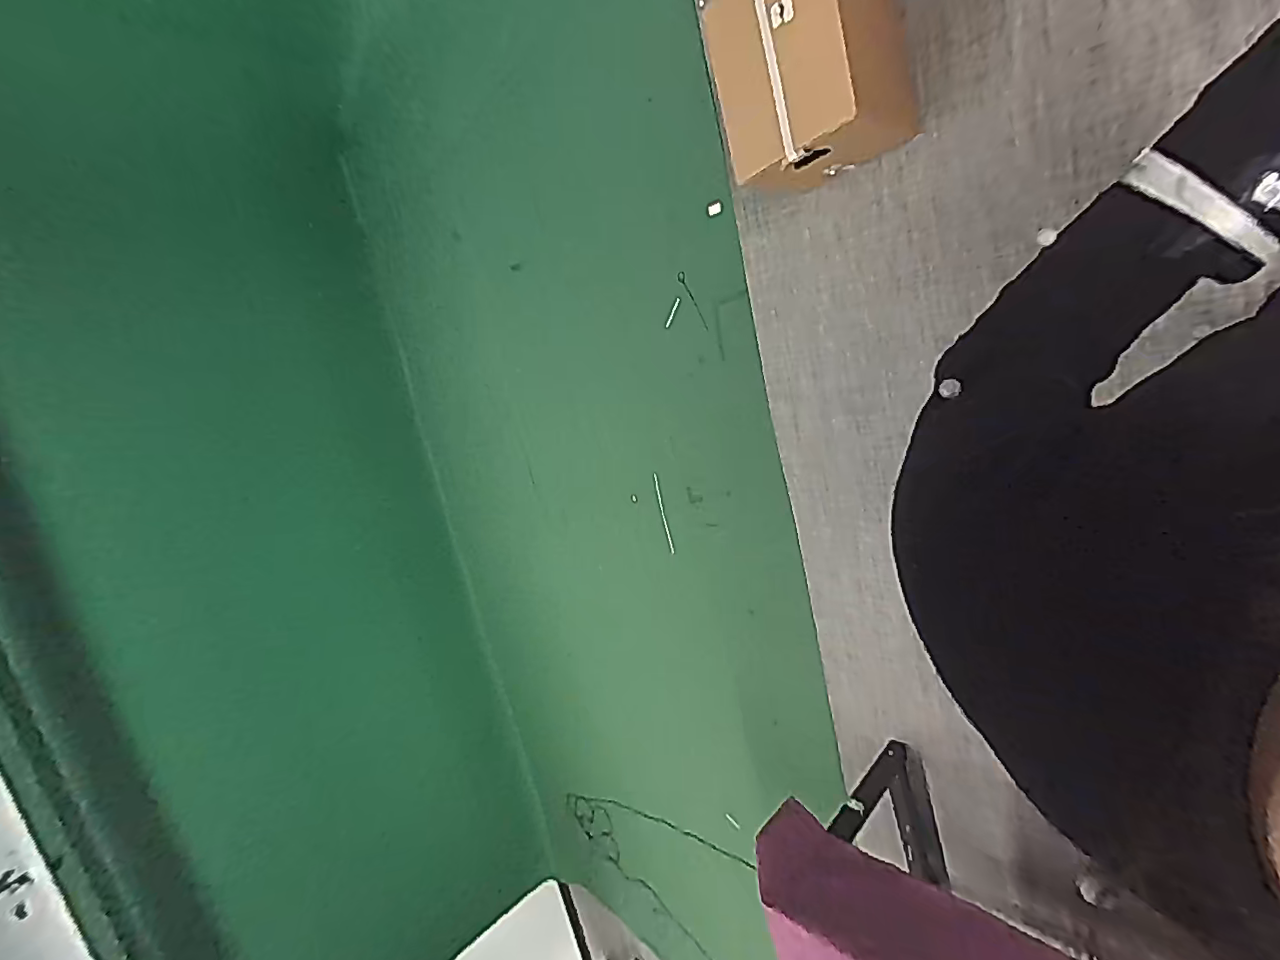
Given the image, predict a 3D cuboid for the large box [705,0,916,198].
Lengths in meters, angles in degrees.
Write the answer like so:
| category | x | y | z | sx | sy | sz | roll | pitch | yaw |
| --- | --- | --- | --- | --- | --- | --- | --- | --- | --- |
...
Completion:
| category | x | y | z | sx | sy | sz | roll | pitch | yaw |
| --- | --- | --- | --- | --- | --- | --- | --- | --- | --- |
| large box | 0.404 | -0.943 | 1.274 | 0.320 | 0.320 | 0.408 | -4 | 102 | 50 |
